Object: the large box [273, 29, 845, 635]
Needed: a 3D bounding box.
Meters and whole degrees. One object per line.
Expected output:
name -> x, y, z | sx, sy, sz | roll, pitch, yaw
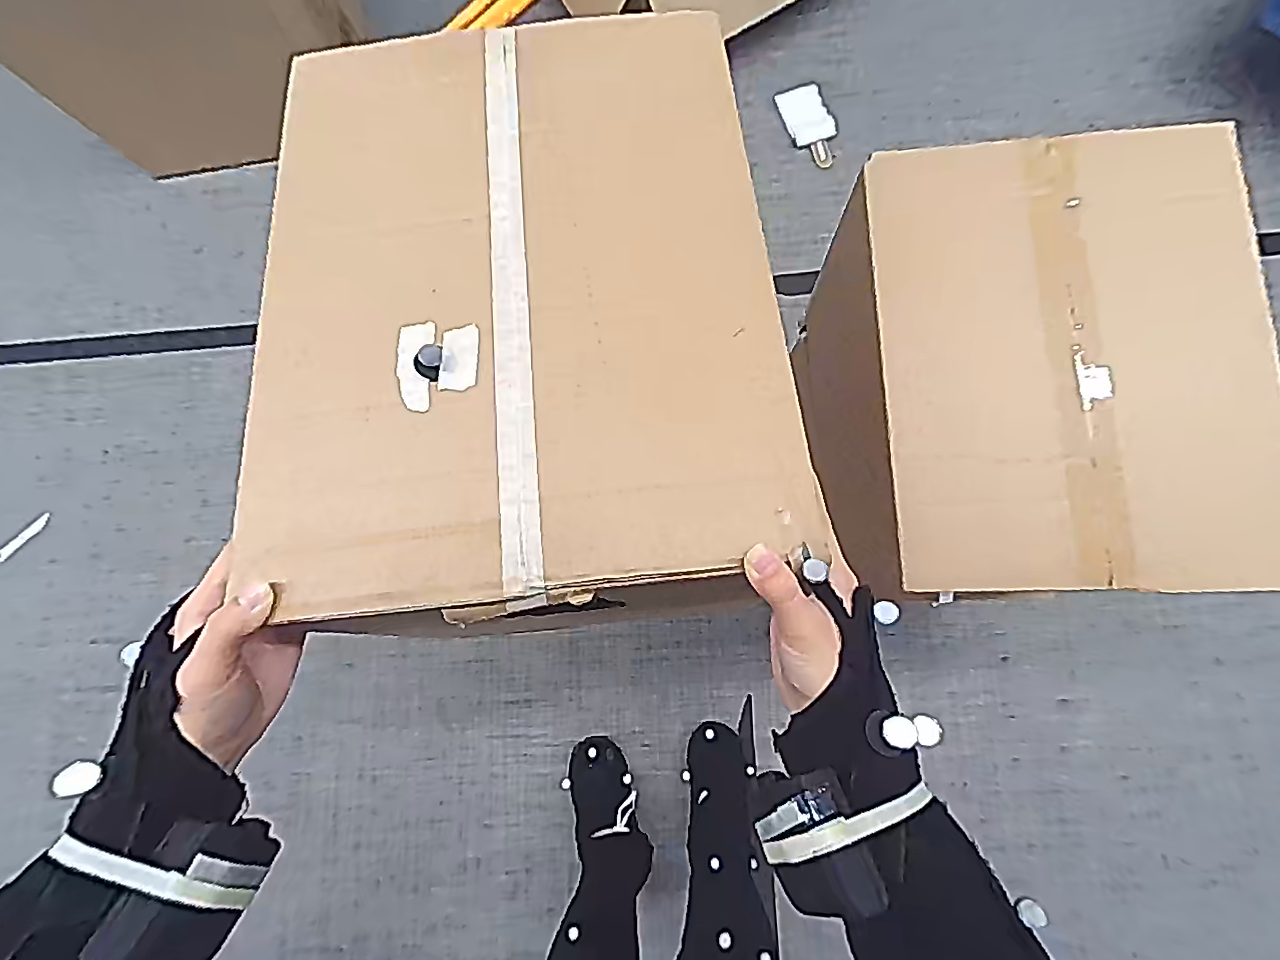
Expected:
large box -> -0.064, -0.088, 0.484 | 0.320, 0.320, 0.408 | -7, 73, 0
